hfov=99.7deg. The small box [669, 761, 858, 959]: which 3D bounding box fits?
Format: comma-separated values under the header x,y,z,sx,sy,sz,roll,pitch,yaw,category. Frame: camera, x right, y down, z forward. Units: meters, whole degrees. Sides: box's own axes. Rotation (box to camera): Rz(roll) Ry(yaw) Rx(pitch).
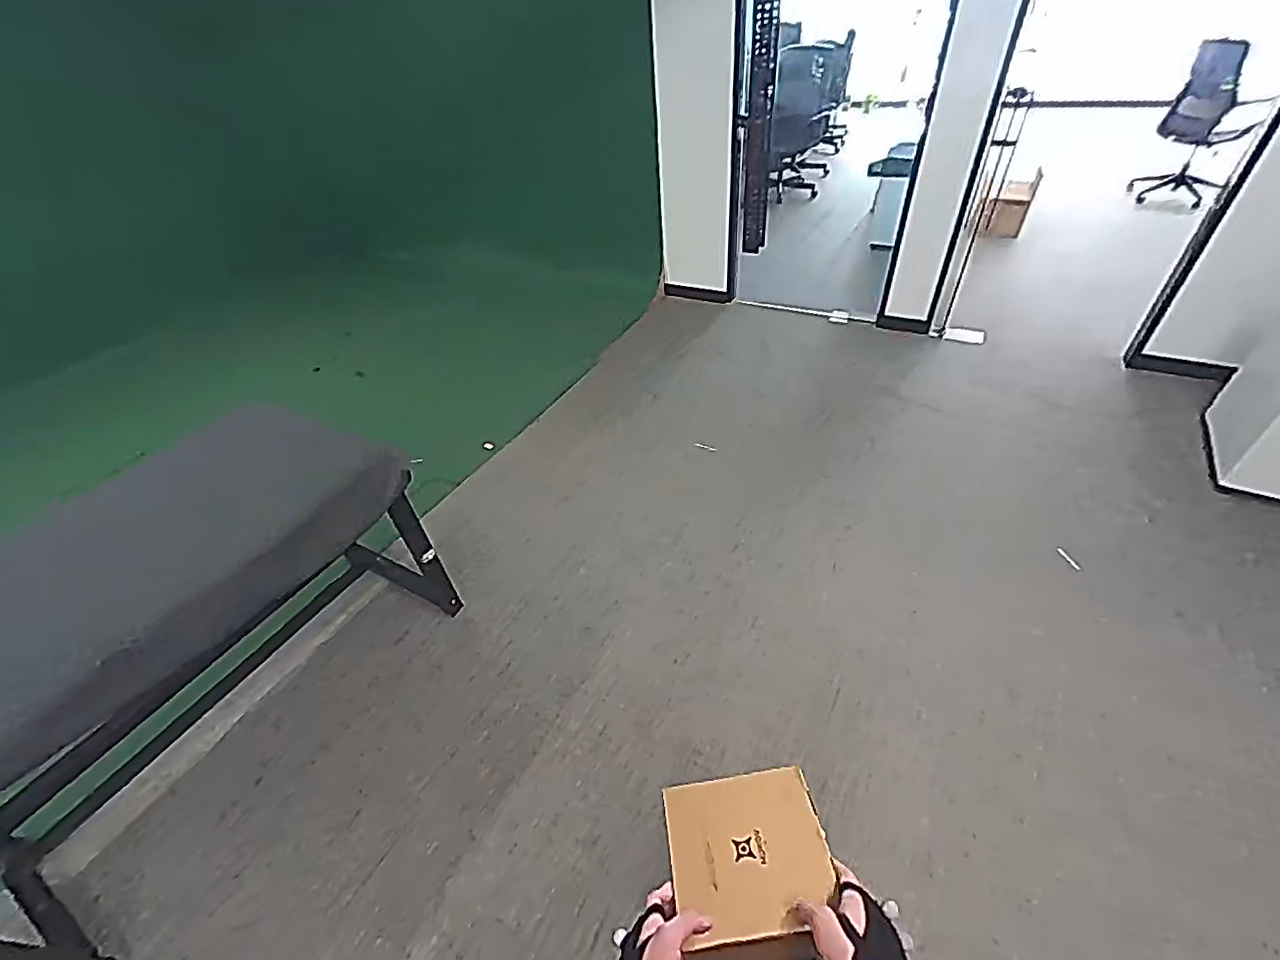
x,y,z,sx,sy,sz,roll,pitch,yaw,category
0.135,0.467,0.635,0.179,0.176,0.168,-9,28,2,small box
